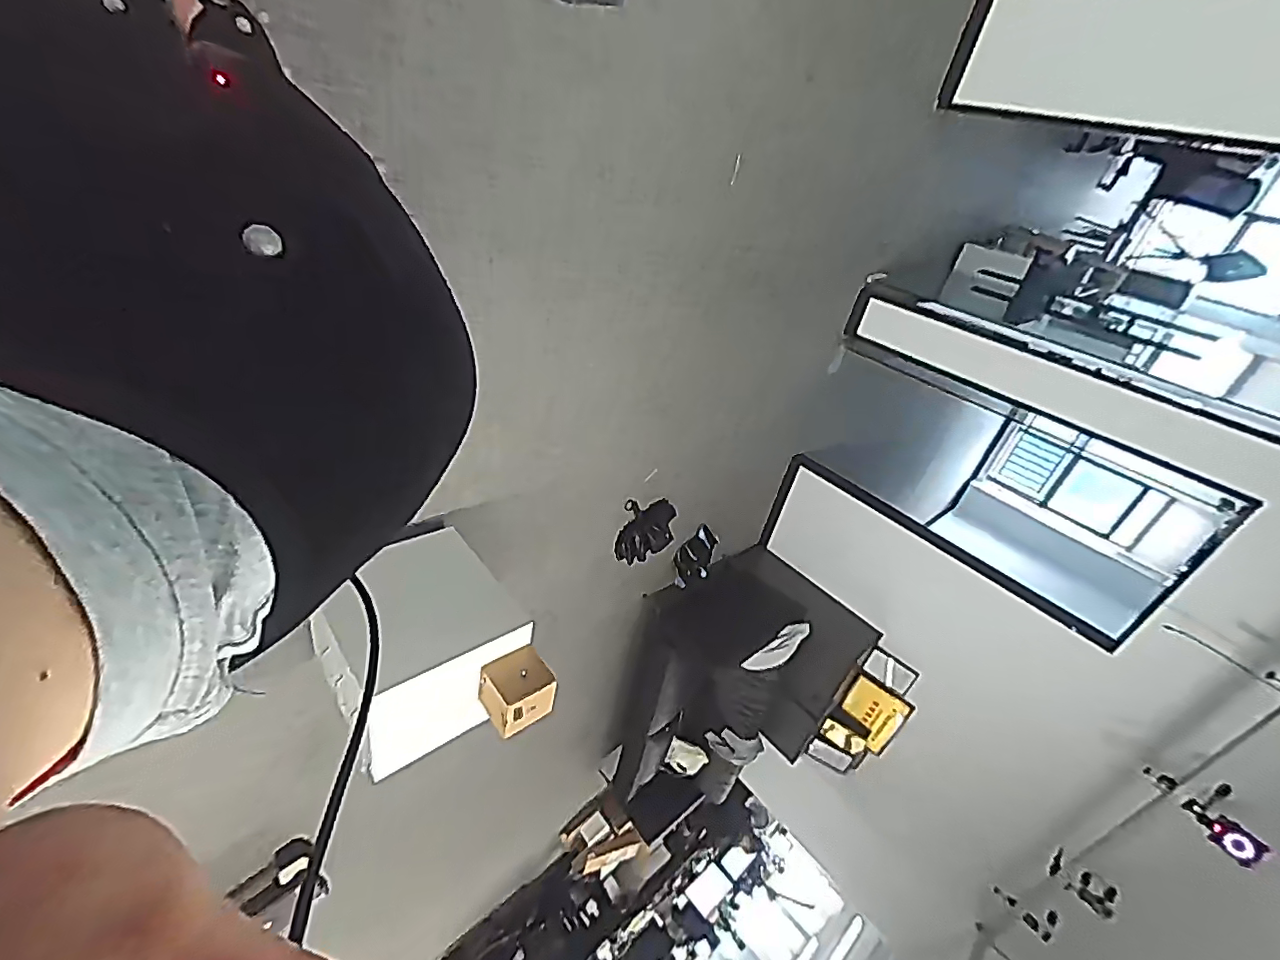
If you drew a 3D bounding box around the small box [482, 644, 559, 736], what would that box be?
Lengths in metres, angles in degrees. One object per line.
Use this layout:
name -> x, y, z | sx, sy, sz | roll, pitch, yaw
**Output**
small box -> -0.385, 0.659, 1.711 | 0.179, 0.176, 0.168 | -18, 134, -40
